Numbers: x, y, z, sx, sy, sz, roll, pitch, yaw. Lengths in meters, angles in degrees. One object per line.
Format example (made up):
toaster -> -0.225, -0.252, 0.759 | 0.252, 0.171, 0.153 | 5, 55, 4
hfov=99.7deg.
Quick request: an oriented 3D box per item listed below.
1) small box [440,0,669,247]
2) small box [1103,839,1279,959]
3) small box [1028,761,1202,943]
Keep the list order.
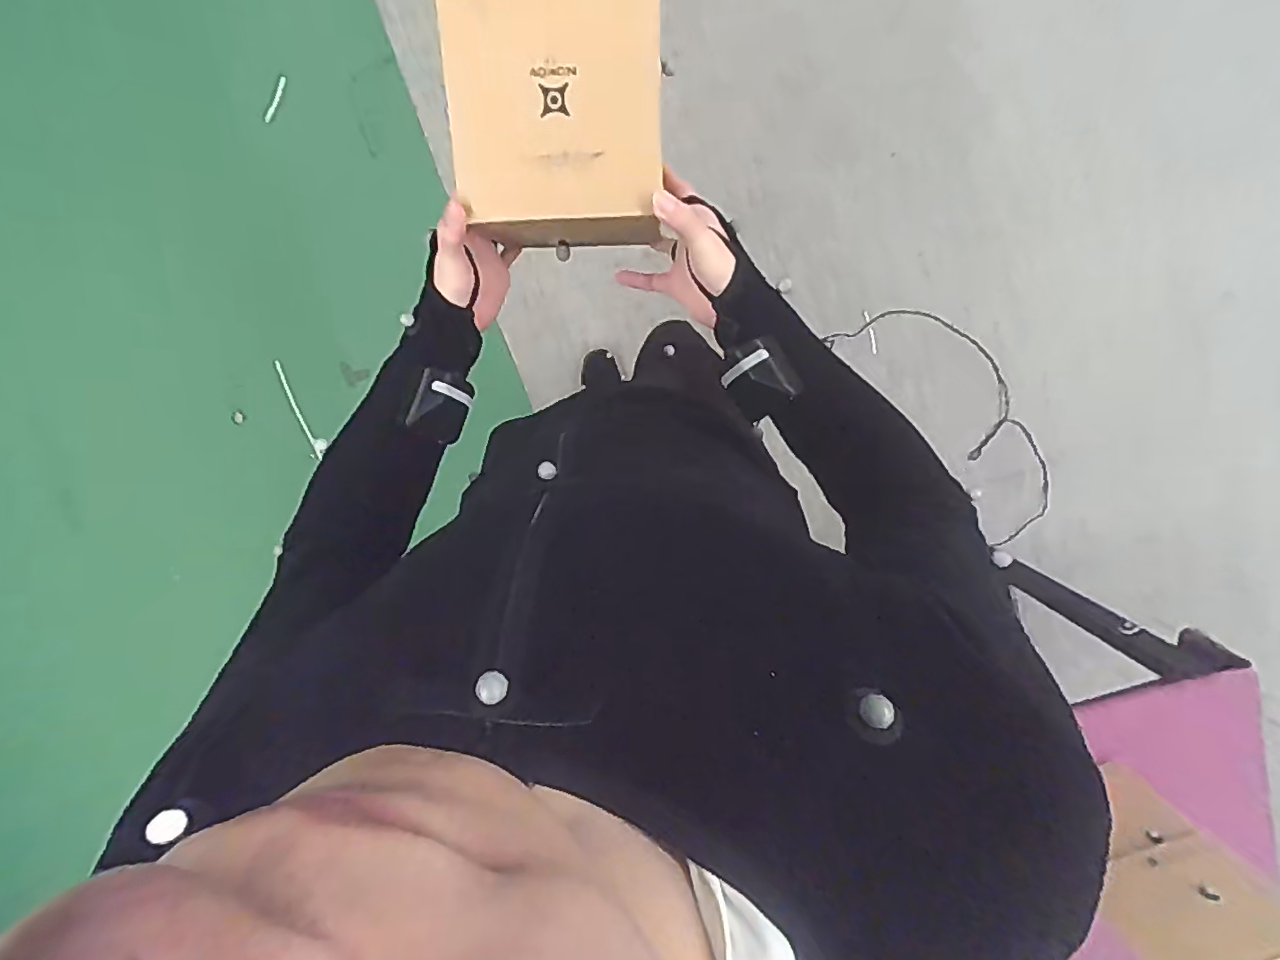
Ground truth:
small box -> -0.062, -0.311, 0.474 | 0.168, 0.176, 0.179 | -1, 106, 1
small box -> 0.822, 0.660, 0.778 | 0.168, 0.176, 0.179 | -23, 102, 6
small box -> 0.829, 0.638, 0.942 | 0.168, 0.176, 0.179 | -25, 102, 5
